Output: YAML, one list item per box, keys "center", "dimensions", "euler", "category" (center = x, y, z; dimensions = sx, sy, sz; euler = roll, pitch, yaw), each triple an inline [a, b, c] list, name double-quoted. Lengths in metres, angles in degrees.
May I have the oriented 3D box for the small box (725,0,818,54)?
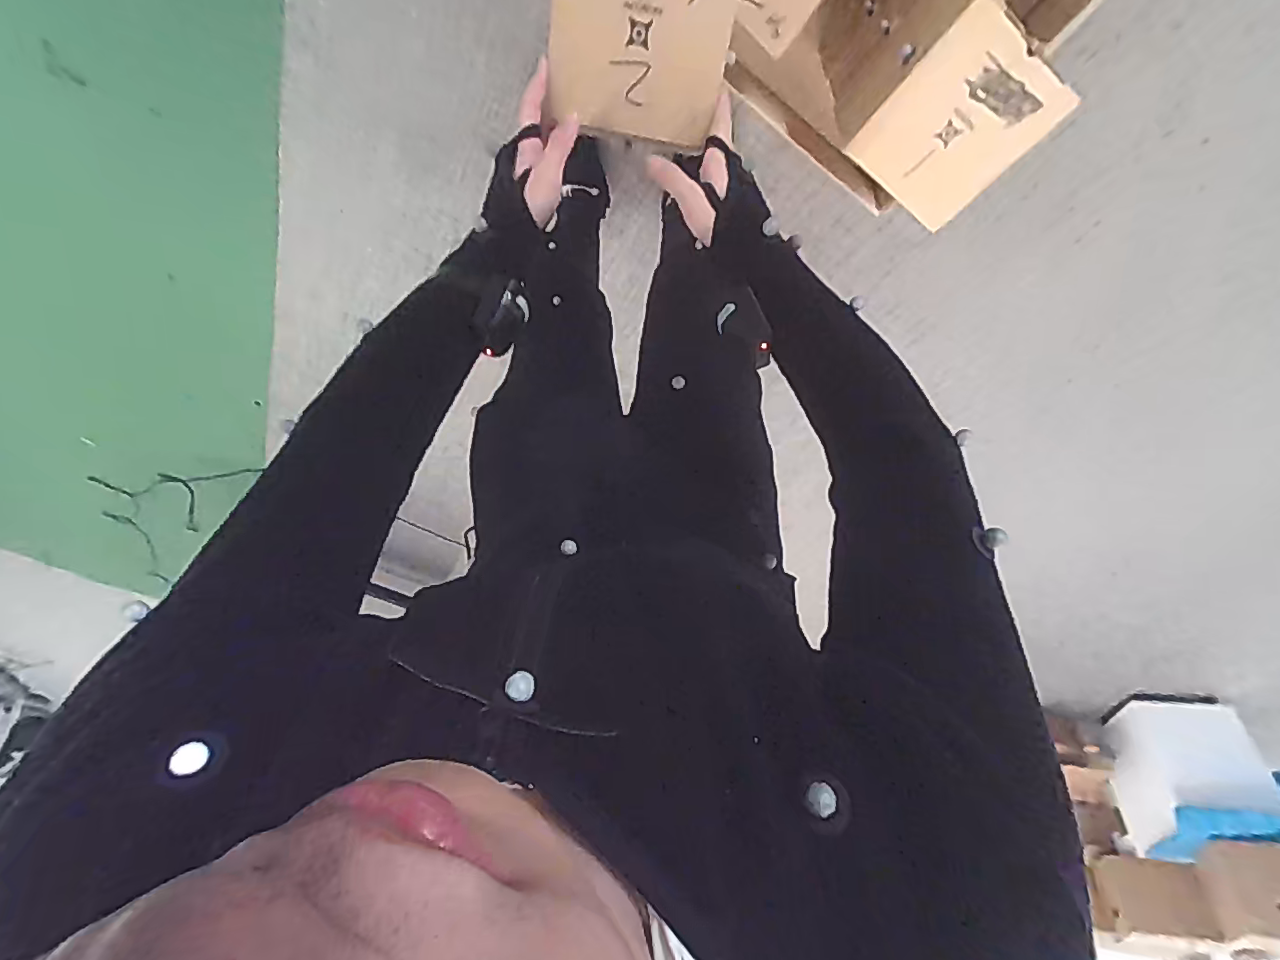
- center: [0.174, -0.699, 0.679]
  dimensions: [0.168, 0.176, 0.179]
  euler: [30, 135, -23]
  category: "small box"

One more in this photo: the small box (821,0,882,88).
- center: [0.414, -0.711, 0.880]
  dimensions: [0.168, 0.176, 0.179]
  euler: [27, 137, -20]
  category: "small box"

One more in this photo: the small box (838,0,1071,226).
- center: [0.367, -0.466, 0.667]
  dimensions: [0.168, 0.176, 0.179]
  euler: [29, 137, -19]
  category: "small box"

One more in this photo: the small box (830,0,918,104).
- center: [0.394, -0.590, 0.771]
  dimensions: [0.168, 0.176, 0.179]
  euler: [30, 136, -20]
  category: "small box"
